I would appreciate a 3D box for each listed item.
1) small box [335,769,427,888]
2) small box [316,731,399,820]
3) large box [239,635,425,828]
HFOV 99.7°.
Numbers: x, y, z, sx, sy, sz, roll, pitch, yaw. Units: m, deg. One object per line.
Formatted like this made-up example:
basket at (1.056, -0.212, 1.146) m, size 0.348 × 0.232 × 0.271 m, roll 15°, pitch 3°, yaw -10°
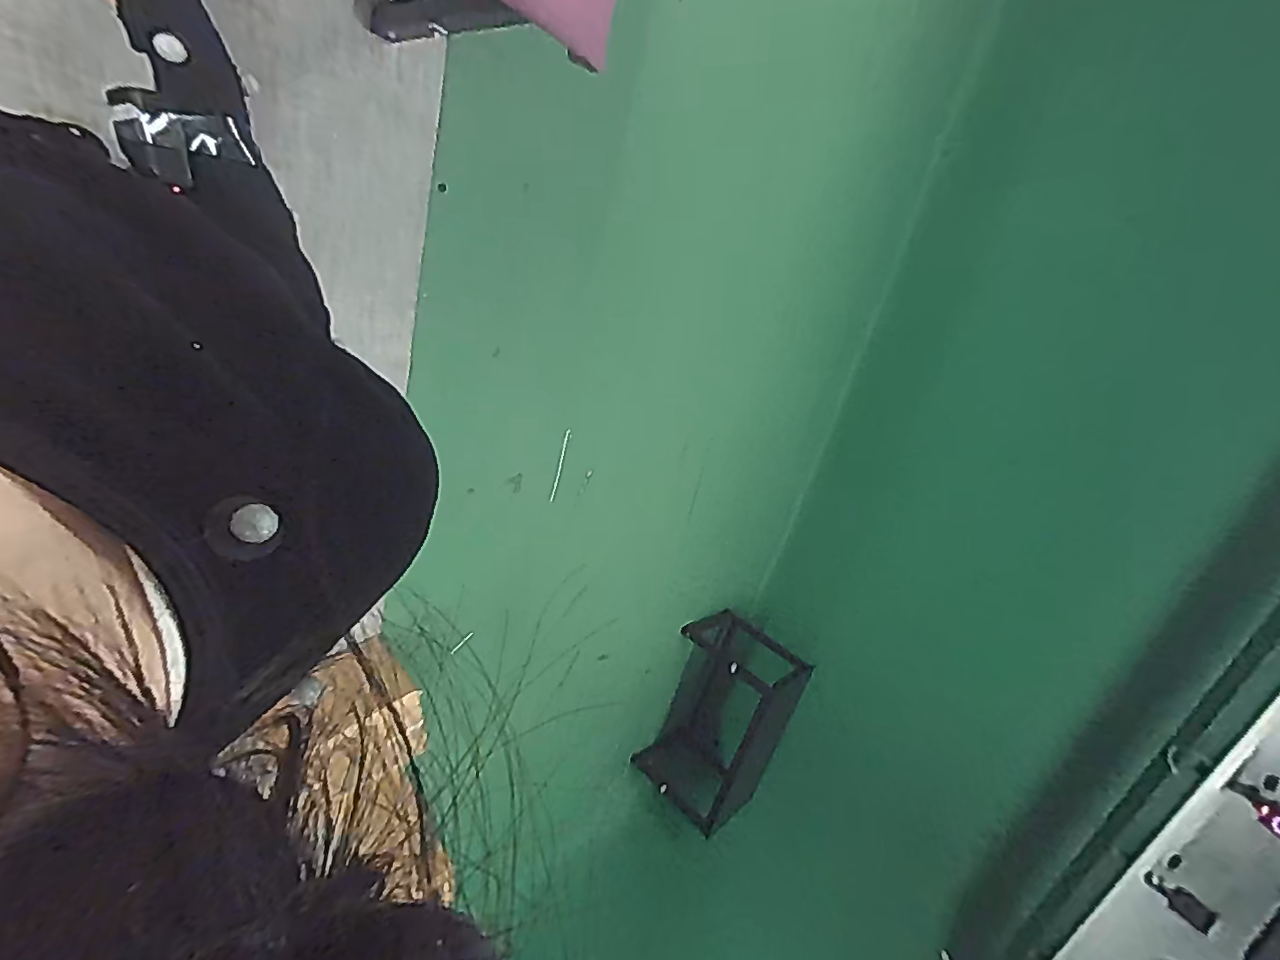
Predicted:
small box at (-0.702, 0.935, 1.469) m, size 0.179 × 0.176 × 0.168 m, roll -16°, pitch 126°, yaw -44°
small box at (-0.813, 0.862, 1.562) m, size 0.168 × 0.176 × 0.179 m, roll -18°, pitch 127°, yaw -43°
large box at (-0.972, 0.781, 1.735) m, size 0.408 × 0.320 × 0.320 m, roll -25°, pitch 133°, yaw -41°
